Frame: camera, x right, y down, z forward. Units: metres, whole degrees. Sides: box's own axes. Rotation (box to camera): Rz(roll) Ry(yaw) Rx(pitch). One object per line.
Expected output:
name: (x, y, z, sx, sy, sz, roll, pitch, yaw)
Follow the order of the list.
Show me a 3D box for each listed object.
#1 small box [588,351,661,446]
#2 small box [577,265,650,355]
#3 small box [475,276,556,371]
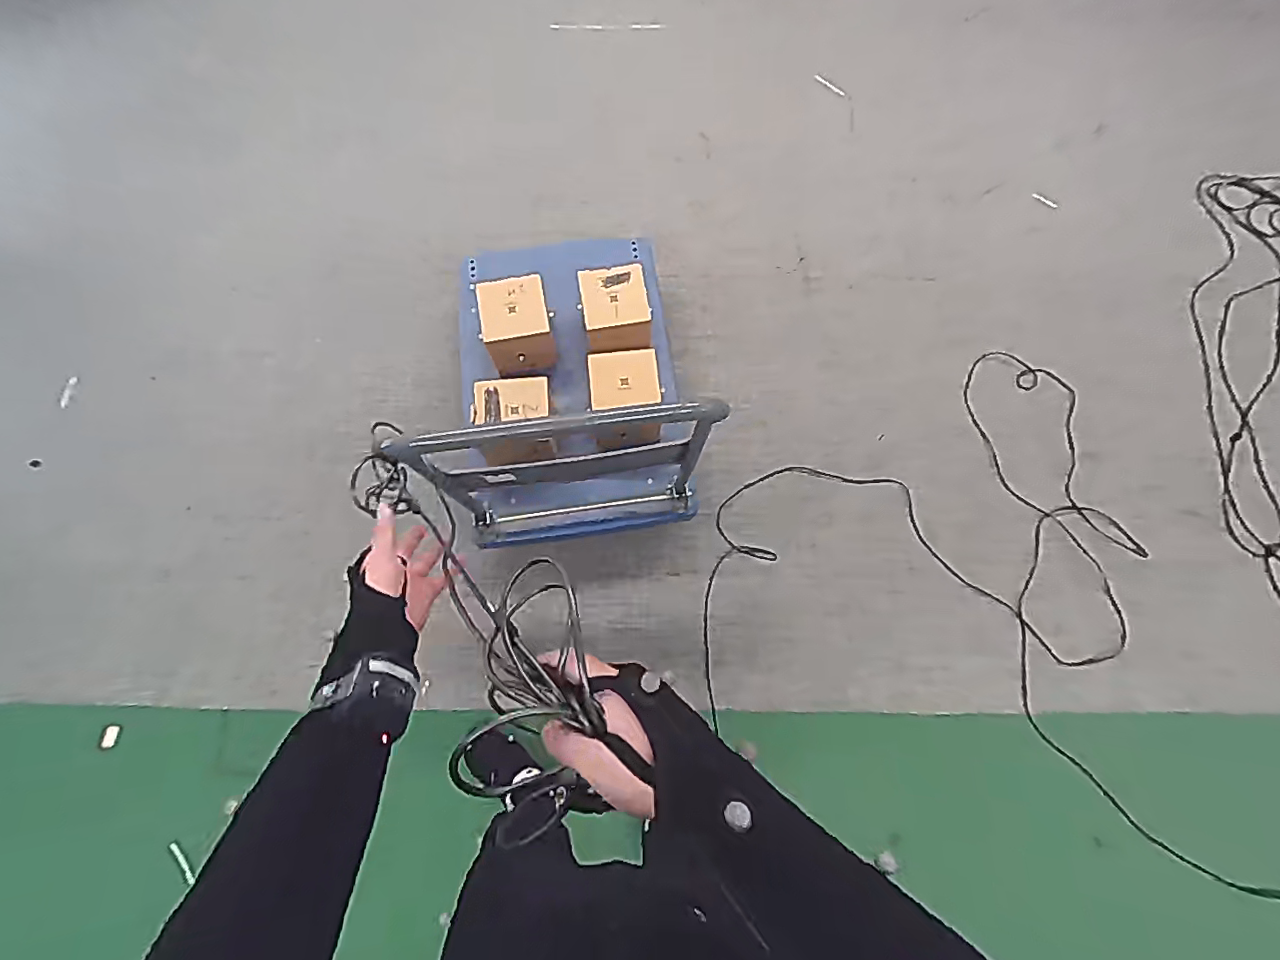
small box: (-0.040, -0.202, 1.360, 0.168, 0.176, 0.179, -6, 73, -2)
small box: (-0.068, -0.436, 1.432, 0.168, 0.176, 0.179, -9, 73, -2)
small box: (-0.322, -0.401, 1.421, 0.168, 0.176, 0.179, -11, 73, -4)
